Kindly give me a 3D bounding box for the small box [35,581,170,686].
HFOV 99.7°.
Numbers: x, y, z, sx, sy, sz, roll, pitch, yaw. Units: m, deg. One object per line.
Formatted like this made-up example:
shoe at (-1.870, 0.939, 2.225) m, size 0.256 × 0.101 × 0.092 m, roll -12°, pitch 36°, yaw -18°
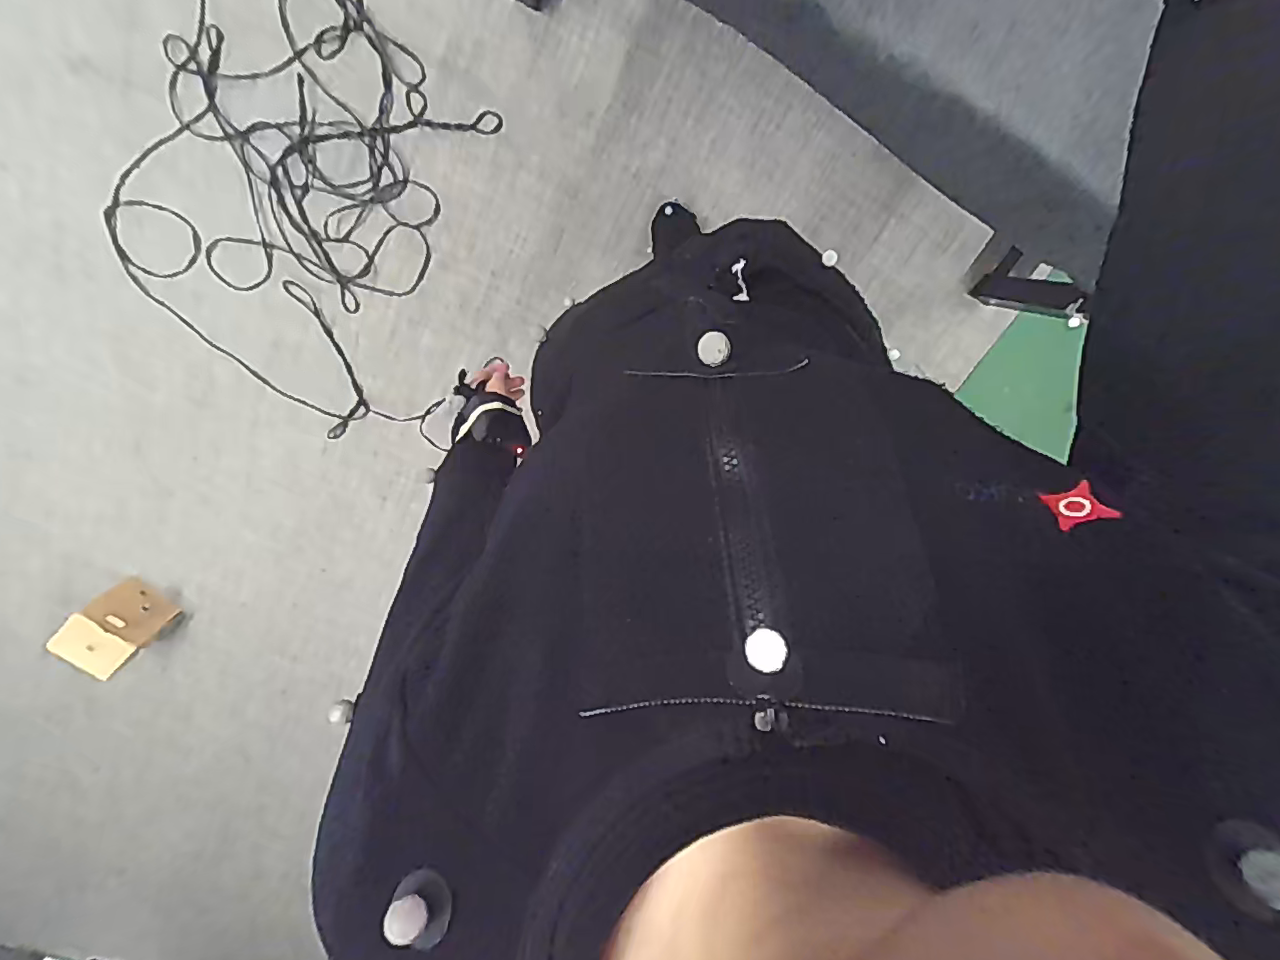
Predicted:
small box at (-1.457, 0.415, 1.479) m, size 0.179 × 0.176 × 0.168 m, roll -39°, pitch 108°, yaw 15°
